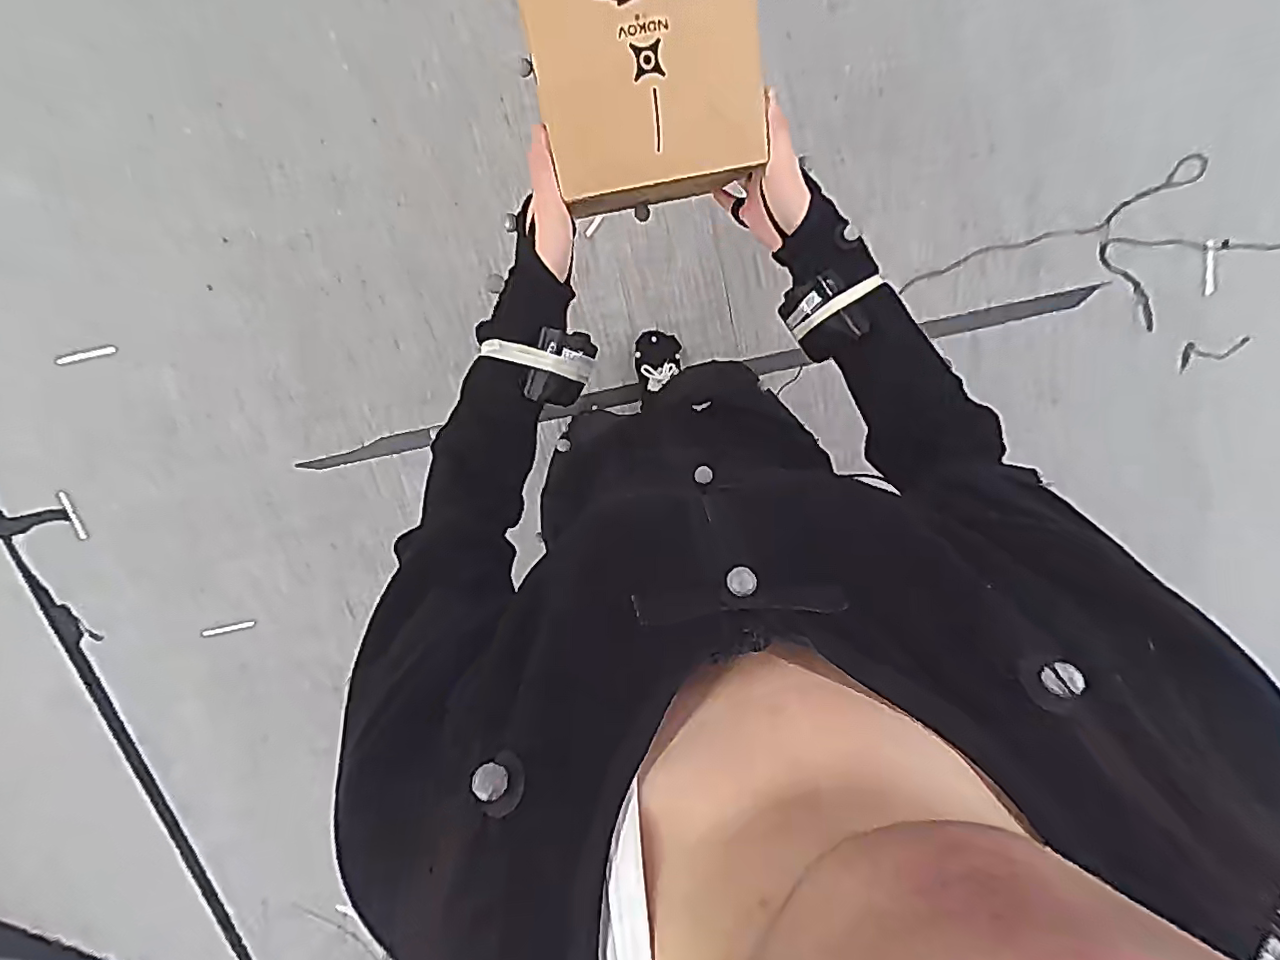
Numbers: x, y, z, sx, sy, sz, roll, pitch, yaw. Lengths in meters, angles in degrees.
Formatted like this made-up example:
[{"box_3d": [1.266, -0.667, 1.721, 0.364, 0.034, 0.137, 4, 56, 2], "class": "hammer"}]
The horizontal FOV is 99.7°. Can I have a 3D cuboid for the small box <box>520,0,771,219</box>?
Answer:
[{"box_3d": [-0.004, -0.336, 0.456, 0.168, 0.176, 0.179, -13, 112, -3], "class": "small box"}]
